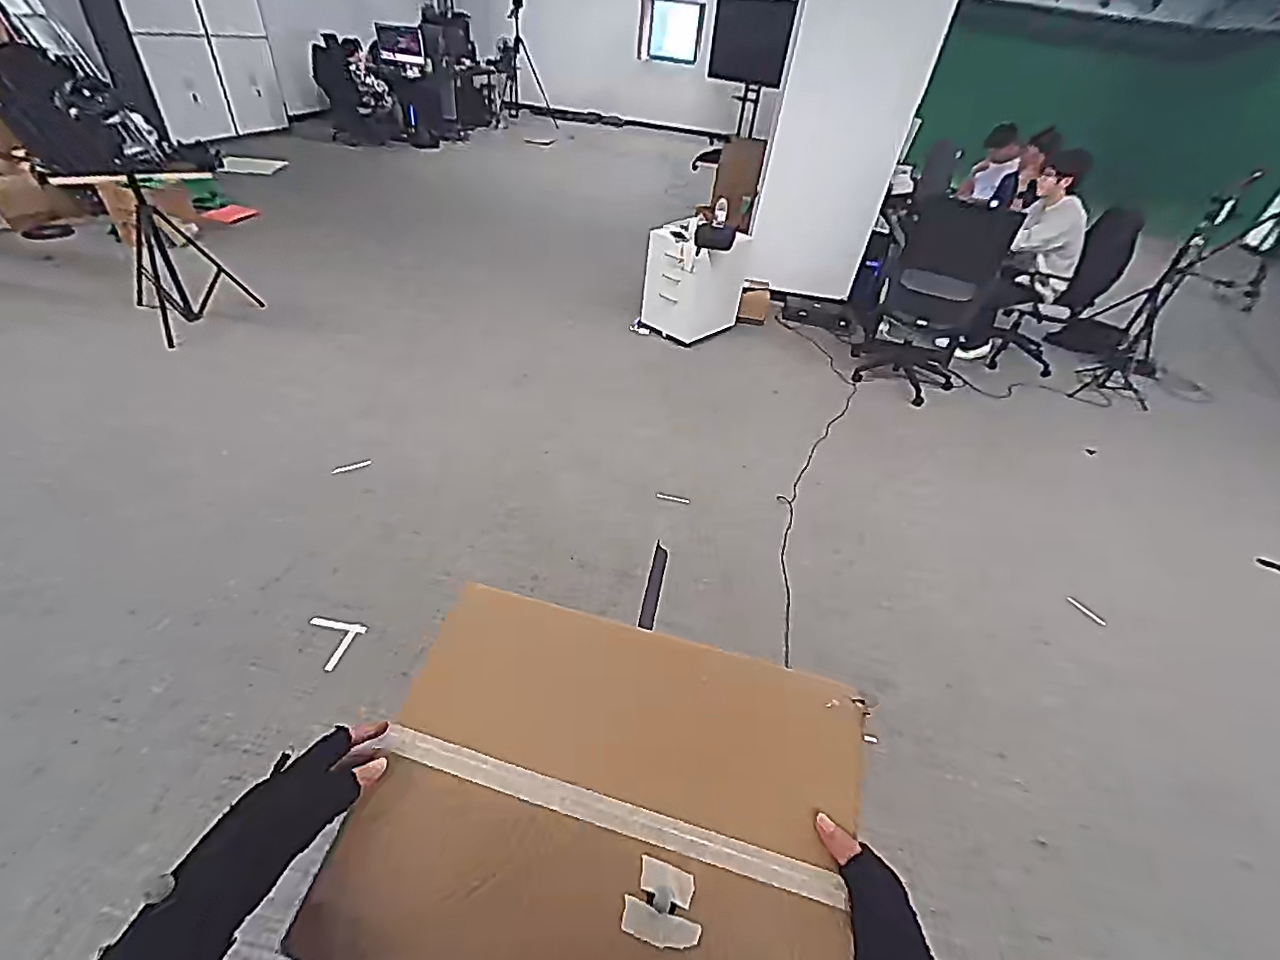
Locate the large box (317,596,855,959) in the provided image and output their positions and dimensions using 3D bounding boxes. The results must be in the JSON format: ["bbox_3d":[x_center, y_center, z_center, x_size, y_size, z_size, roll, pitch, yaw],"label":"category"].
[{"bbox_3d":[-0.020,0.369,0.590,0.408,0.320,0.320,12,57,12],"label":"large box"}]
